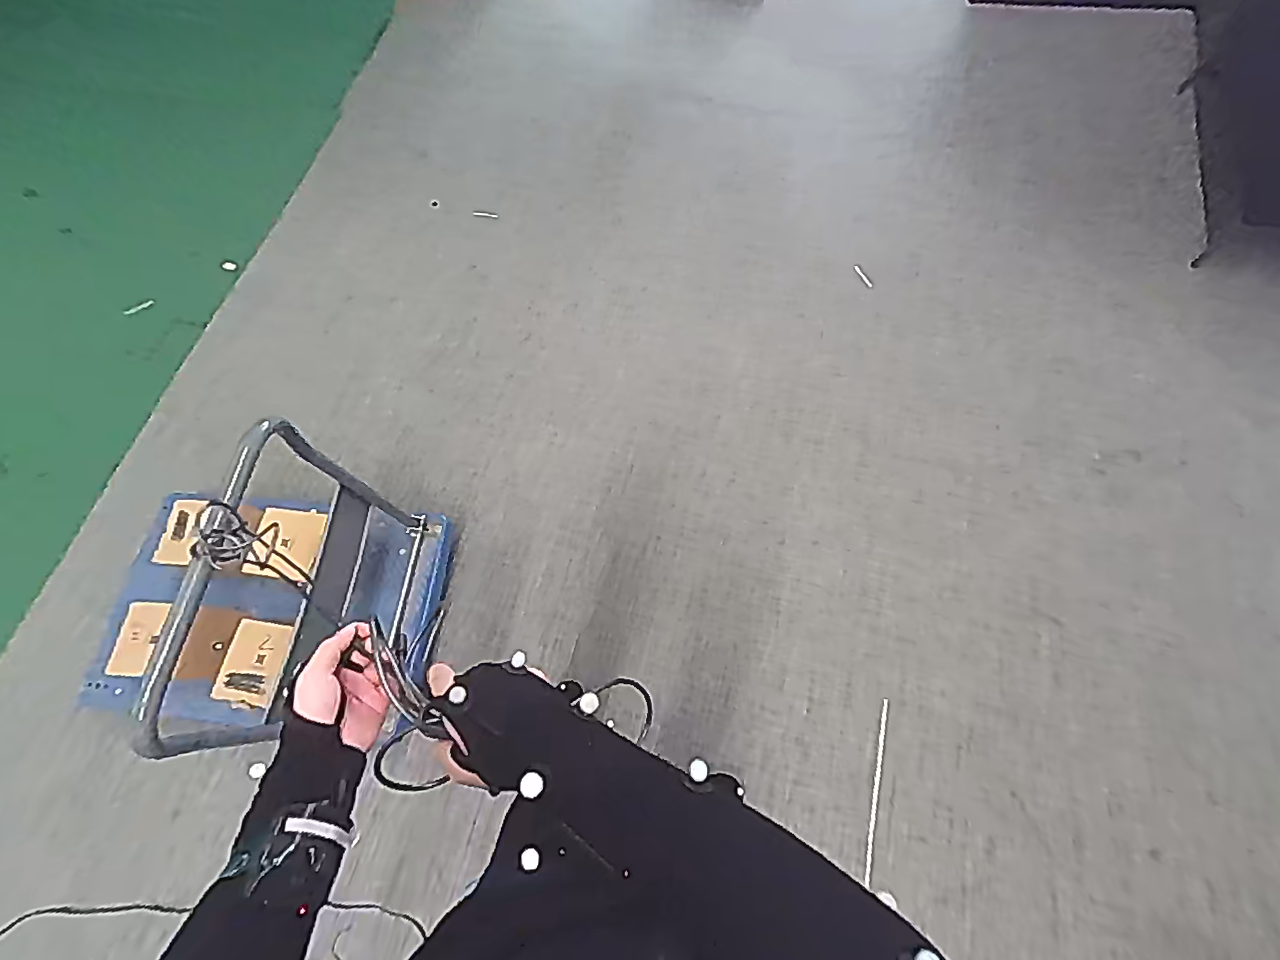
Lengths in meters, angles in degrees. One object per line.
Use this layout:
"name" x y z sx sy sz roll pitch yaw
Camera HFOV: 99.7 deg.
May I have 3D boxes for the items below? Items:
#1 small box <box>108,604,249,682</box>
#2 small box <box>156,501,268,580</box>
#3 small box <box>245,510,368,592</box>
"small box" -1.111 0.401 1.321 0.179 0.176 0.168 1 68 6
"small box" -1.083 0.162 1.409 0.179 0.176 0.168 3 70 6
"small box" -0.839 0.186 1.378 0.179 0.176 0.168 5 70 9
